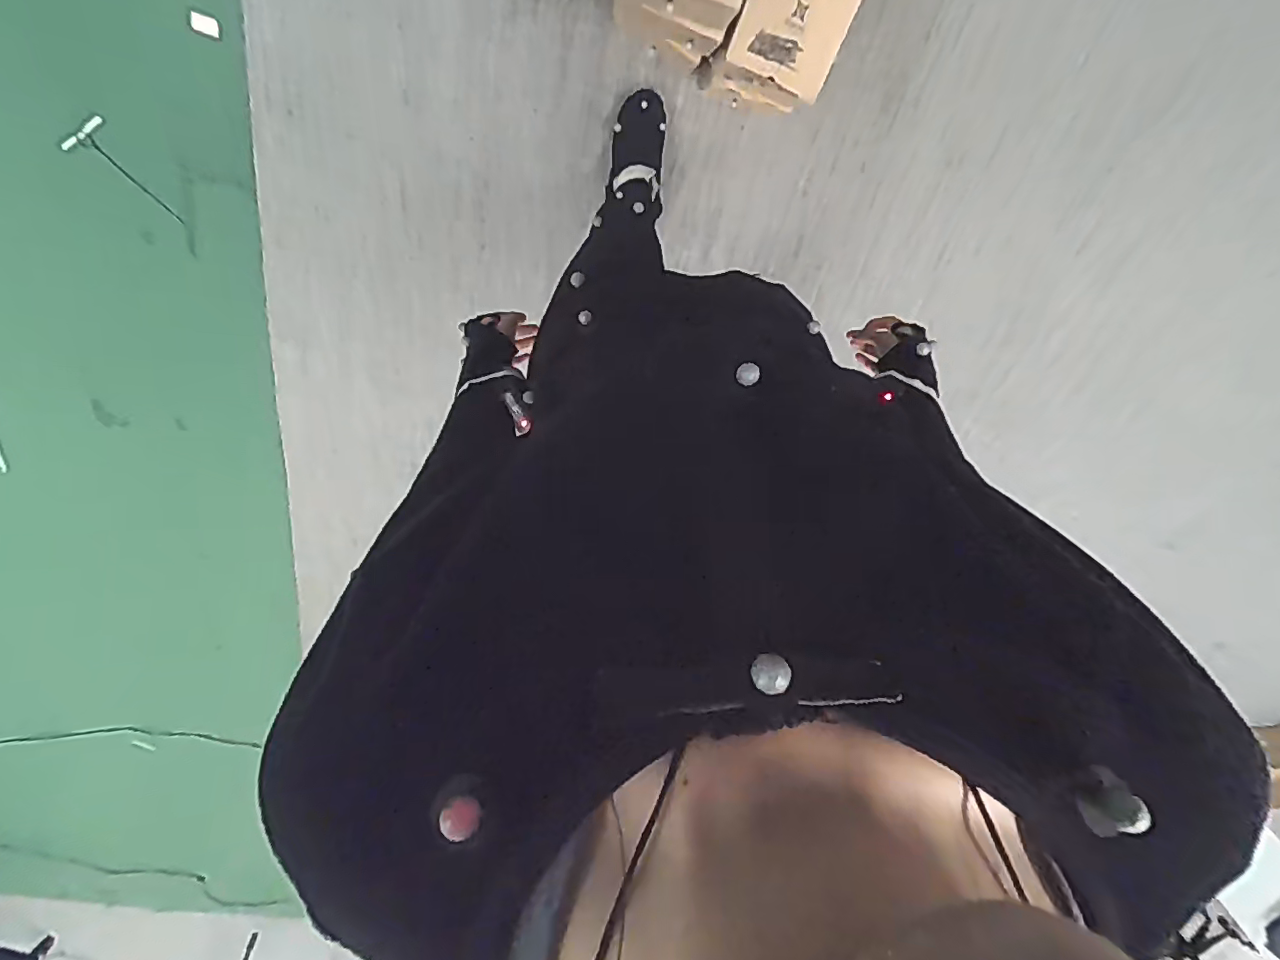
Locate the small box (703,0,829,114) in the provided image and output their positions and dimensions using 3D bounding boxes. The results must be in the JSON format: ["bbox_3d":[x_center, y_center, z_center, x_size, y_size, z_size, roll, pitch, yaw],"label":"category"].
[{"bbox_3d":[0.228,-0.830,1.038,0.168,0.176,0.179,12,122,-9],"label":"small box"}]
